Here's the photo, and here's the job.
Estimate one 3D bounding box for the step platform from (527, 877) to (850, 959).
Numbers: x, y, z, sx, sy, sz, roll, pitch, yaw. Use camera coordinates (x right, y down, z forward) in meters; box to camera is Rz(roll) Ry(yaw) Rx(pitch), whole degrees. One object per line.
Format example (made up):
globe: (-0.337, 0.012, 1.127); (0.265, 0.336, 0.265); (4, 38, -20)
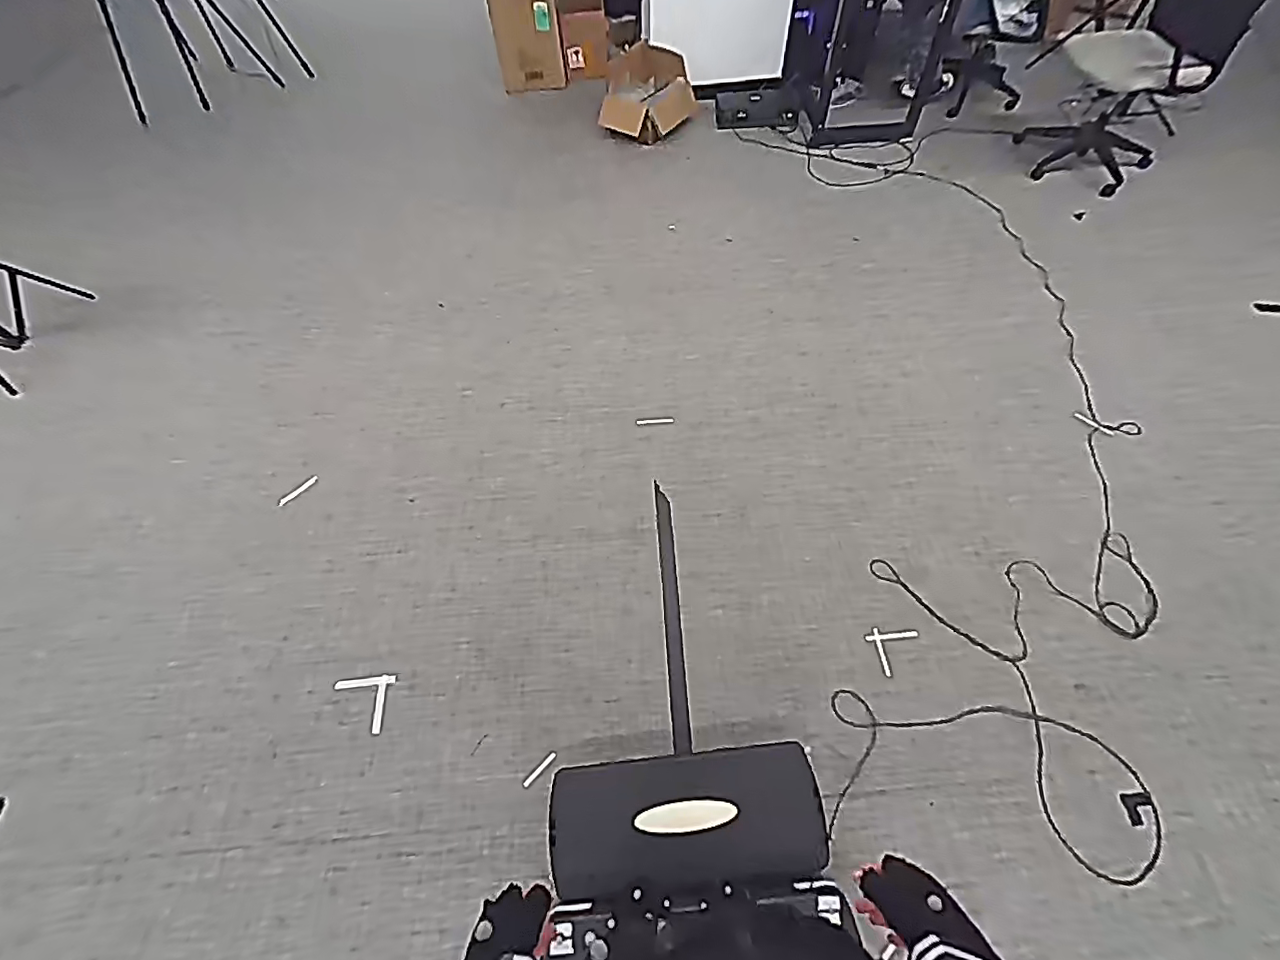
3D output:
step platform: (0.101, 1.058, 1.150); (0.684, 0.204, 0.286); (-6, 58, 0)
